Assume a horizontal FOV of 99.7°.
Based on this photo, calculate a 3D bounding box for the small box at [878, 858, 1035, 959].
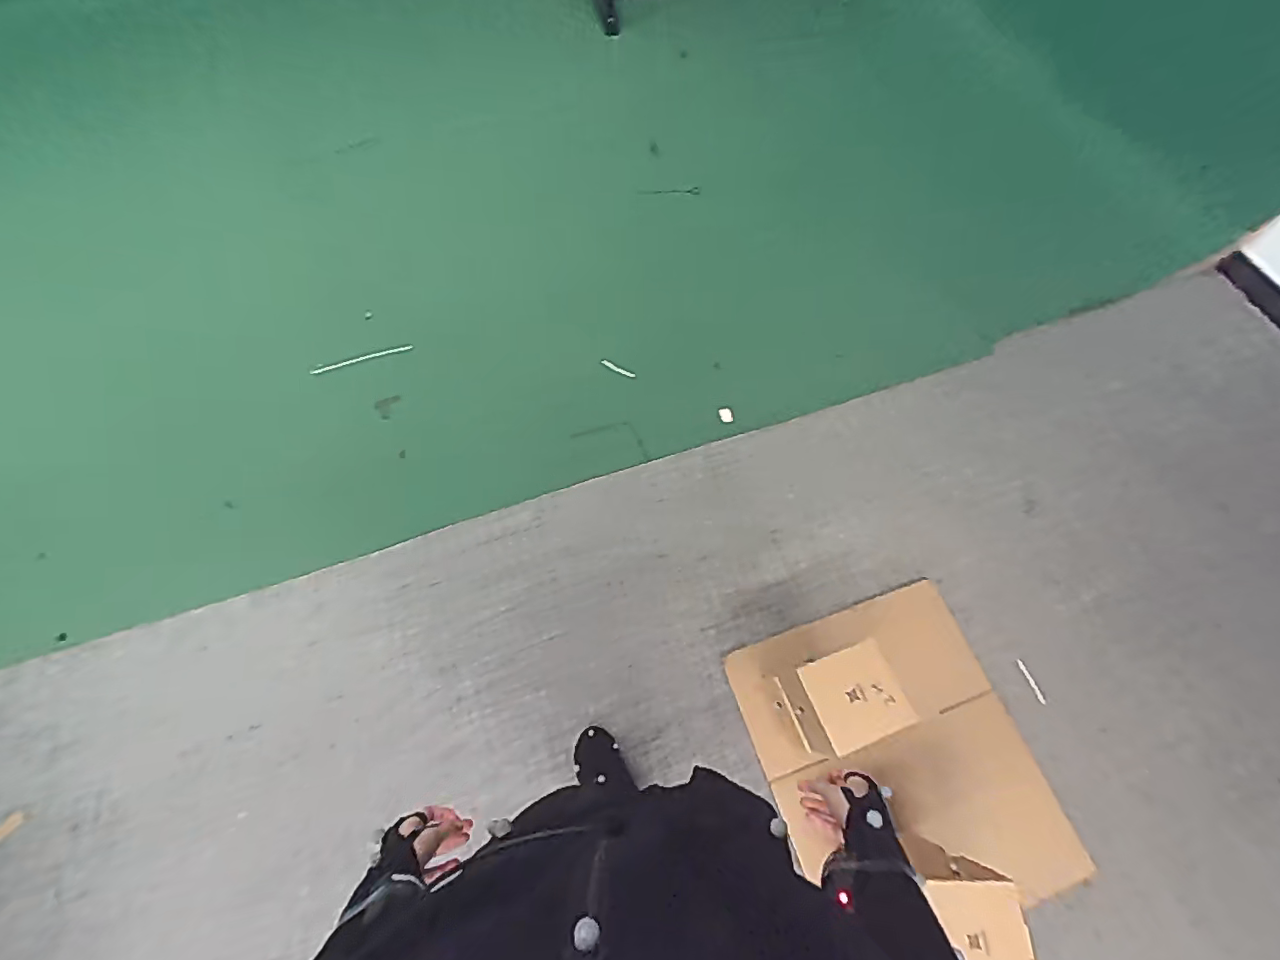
[{"bbox_3d":[0.543,0.778,0.940,0.179,0.176,0.168,1,67,0],"label":"small box"}]

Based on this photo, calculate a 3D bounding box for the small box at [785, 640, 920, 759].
[{"bbox_3d":[0.411,0.441,1.088,0.179,0.176,0.168,-19,69,-8],"label":"small box"}]

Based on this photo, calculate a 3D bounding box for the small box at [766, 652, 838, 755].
[{"bbox_3d":[0.405,0.511,1.238,0.179,0.176,0.168,-19,68,-9],"label":"small box"}]
